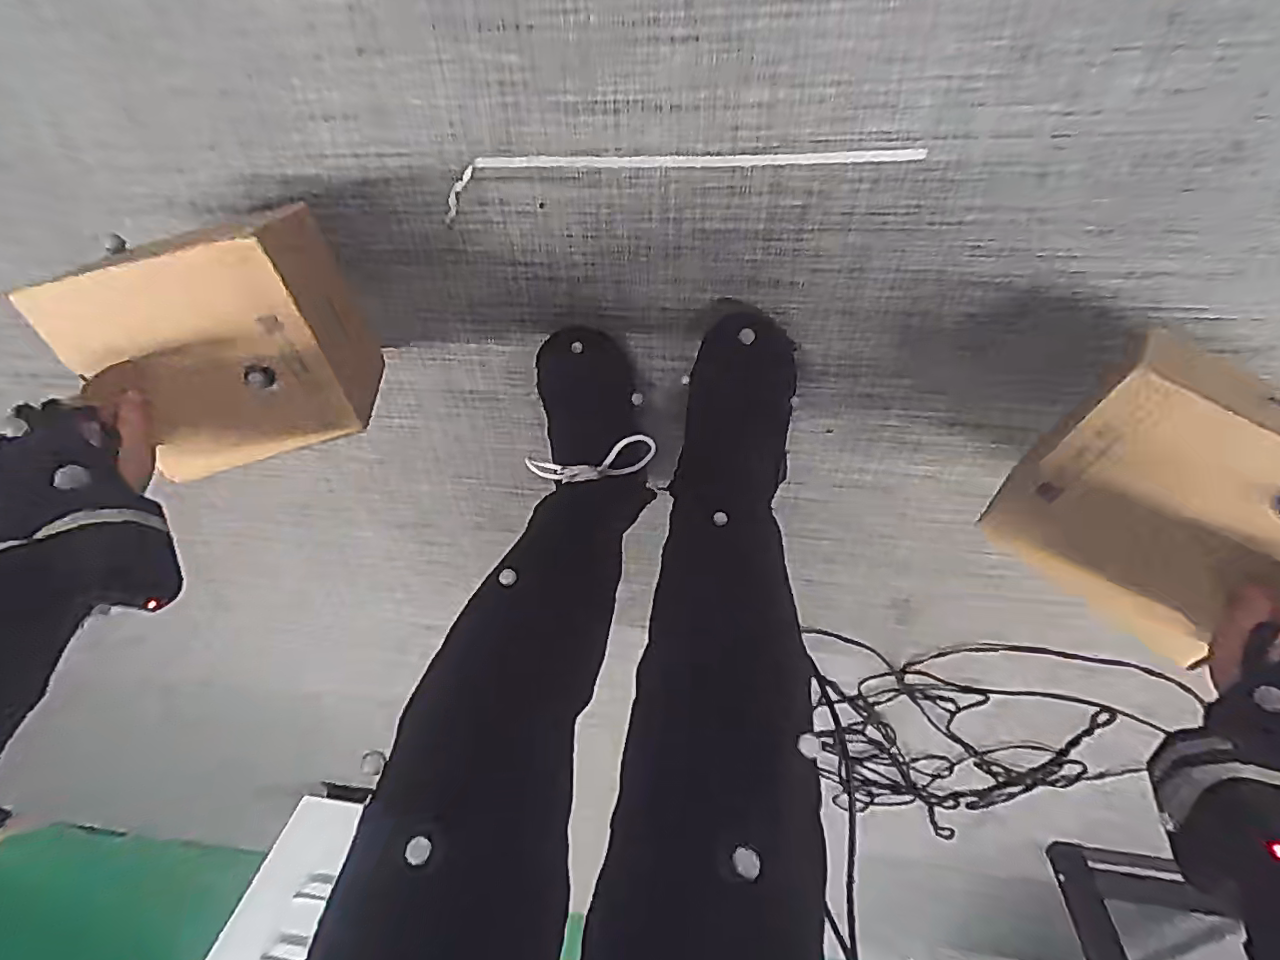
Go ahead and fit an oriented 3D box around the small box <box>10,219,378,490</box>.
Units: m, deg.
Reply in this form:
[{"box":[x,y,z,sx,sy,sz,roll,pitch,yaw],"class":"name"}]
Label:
[{"box":[-0.354,-0.122,0.485,0.176,0.179,0.168,-19,126,-8],"class":"small box"}]
